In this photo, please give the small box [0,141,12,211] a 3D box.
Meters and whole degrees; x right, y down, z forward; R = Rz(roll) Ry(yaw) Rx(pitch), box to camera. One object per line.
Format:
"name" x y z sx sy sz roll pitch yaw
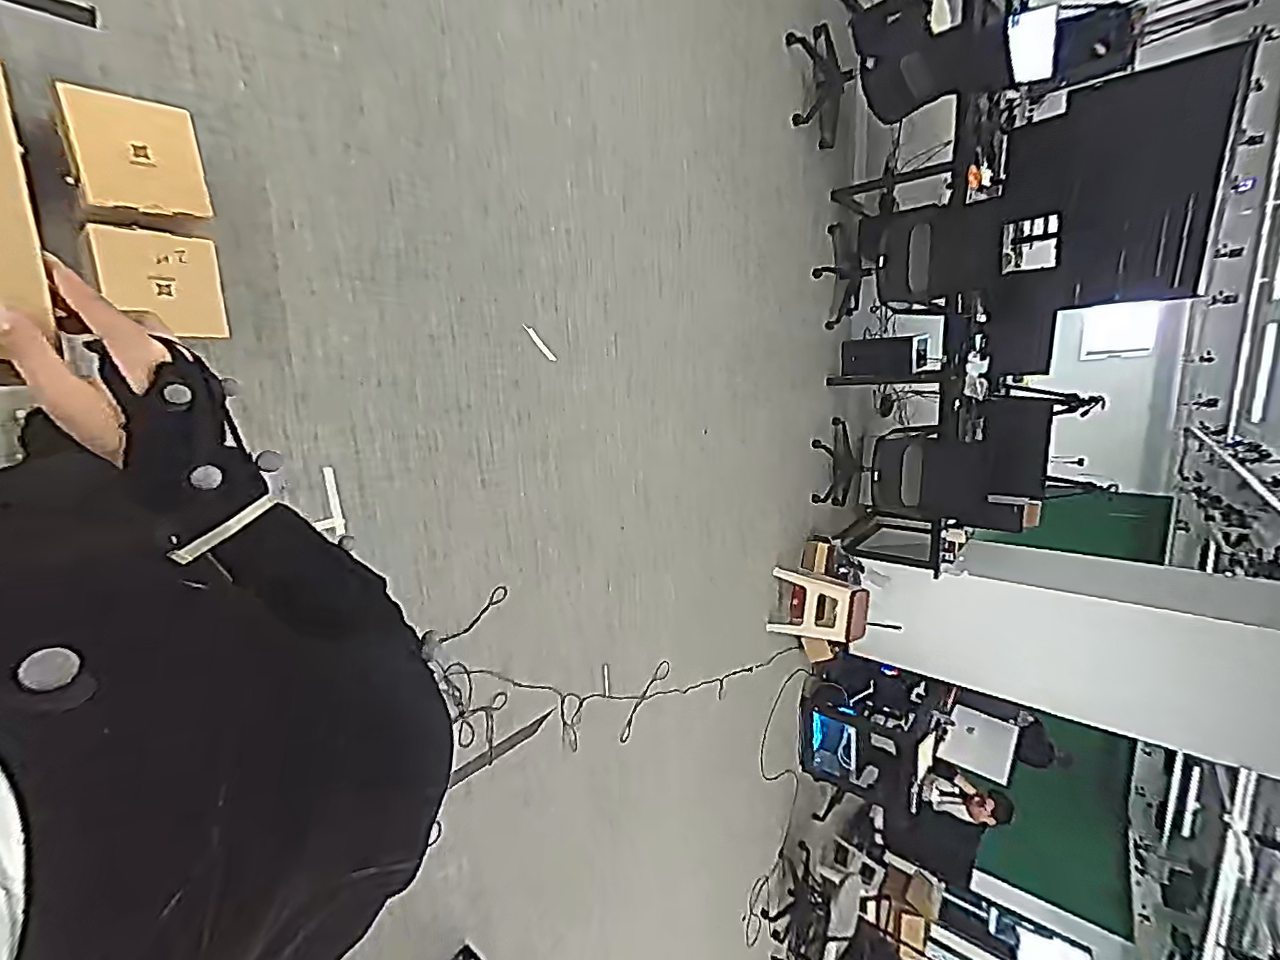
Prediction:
"small box" -1.046 -0.505 0.776 0.168 0.176 0.179 -17 107 -48
